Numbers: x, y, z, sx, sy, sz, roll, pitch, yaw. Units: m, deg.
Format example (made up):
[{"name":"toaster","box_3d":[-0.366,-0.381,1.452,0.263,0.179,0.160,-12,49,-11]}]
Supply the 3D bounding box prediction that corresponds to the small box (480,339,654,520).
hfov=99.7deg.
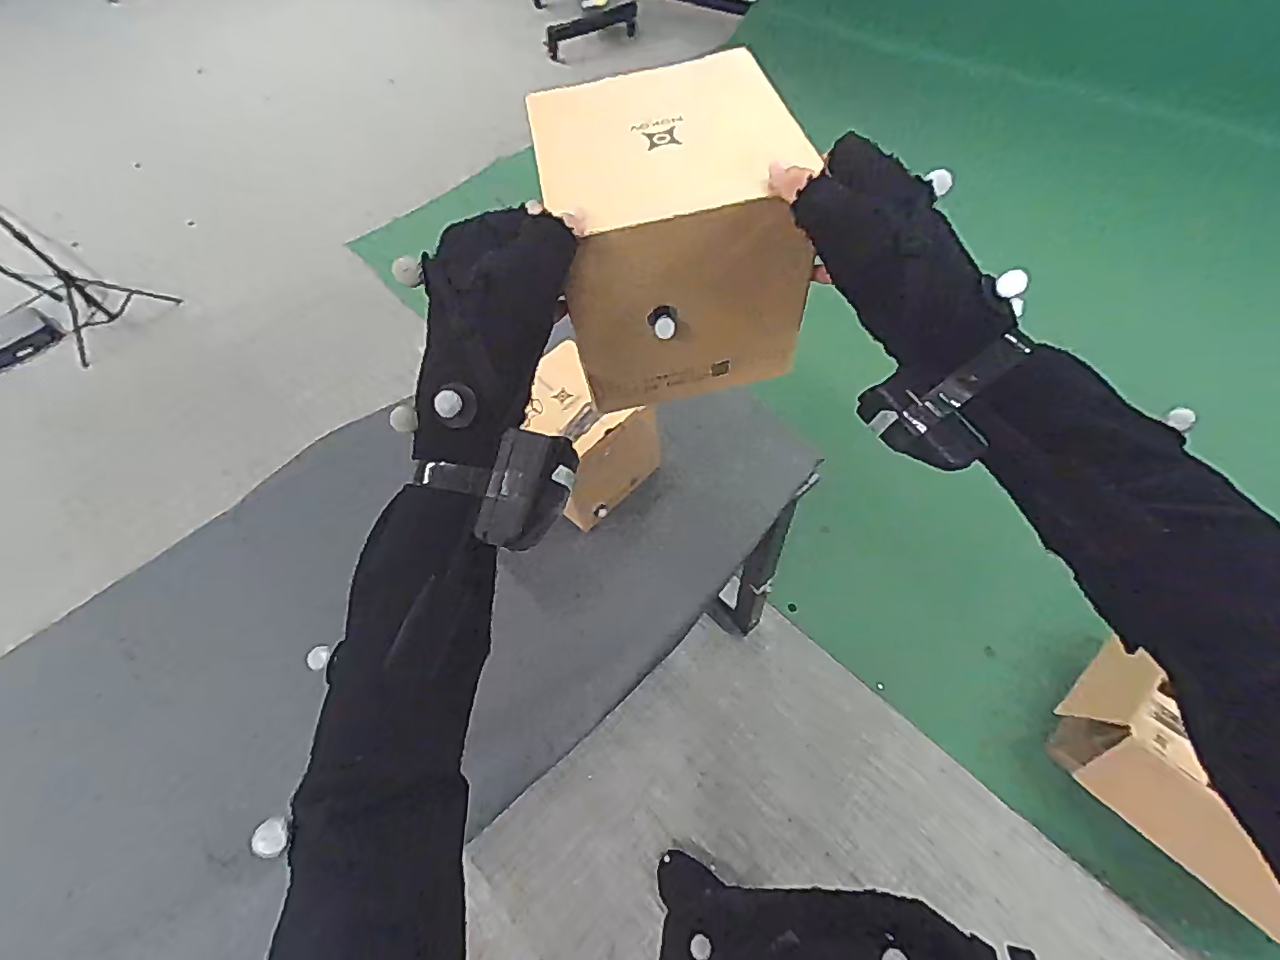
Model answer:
[{"name":"small box","box_3d":[-0.094,-0.064,0.792,0.179,0.176,0.168,38,68,26]}]

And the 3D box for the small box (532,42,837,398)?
[{"name":"small box","box_3d":[0.026,-0.180,0.409,0.168,0.176,0.179,-12,59,0]}]
